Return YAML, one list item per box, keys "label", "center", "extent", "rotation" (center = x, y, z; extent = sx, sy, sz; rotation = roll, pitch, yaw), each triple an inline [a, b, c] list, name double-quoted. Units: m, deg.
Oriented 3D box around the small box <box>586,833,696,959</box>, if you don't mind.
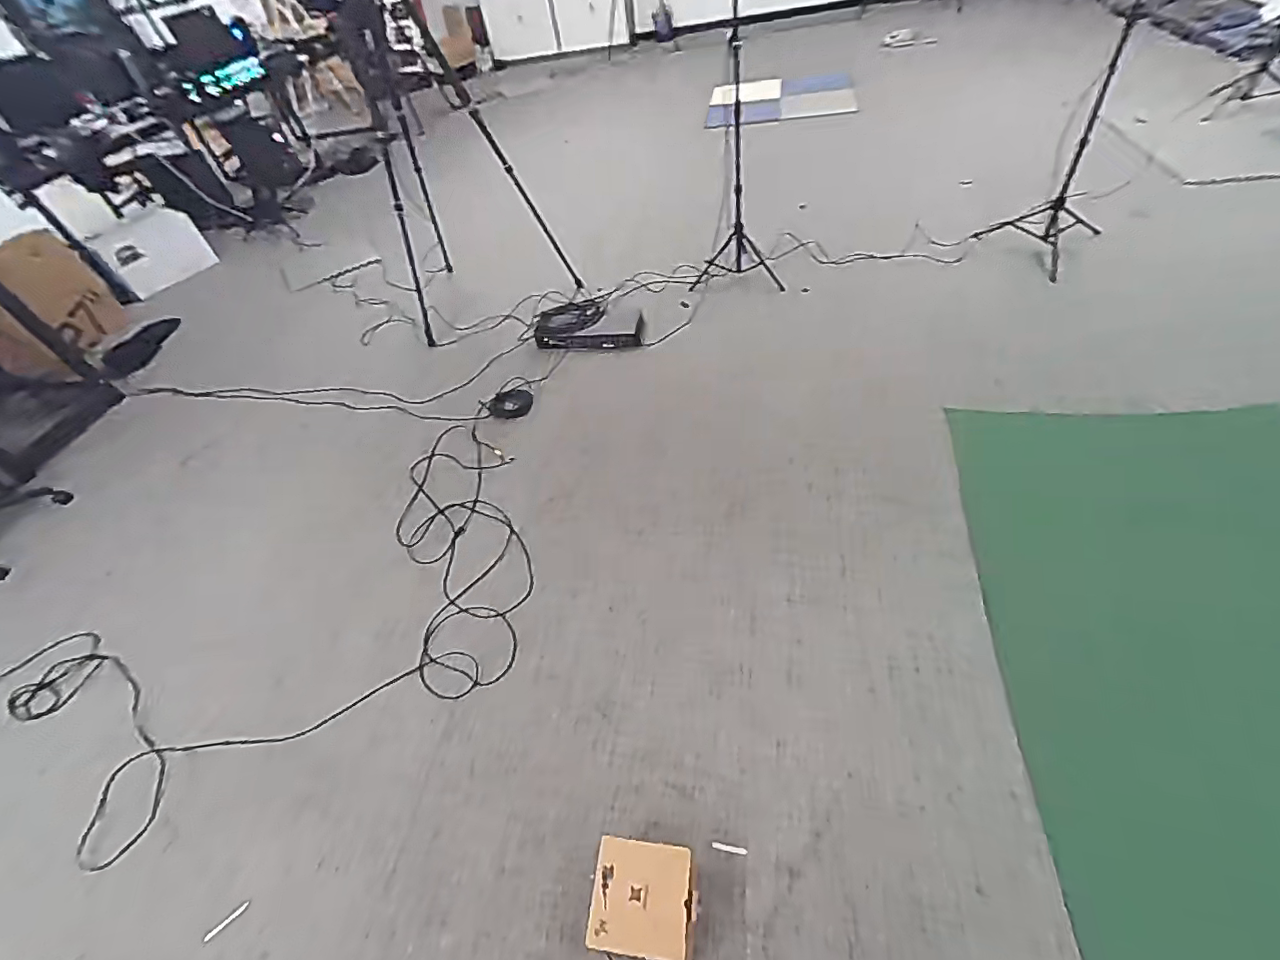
- label: "small box"
  center: [0.012, 0.789, 1.026]
  extent: [0.179, 0.176, 0.168]
  rotation: [0, 50, 11]
